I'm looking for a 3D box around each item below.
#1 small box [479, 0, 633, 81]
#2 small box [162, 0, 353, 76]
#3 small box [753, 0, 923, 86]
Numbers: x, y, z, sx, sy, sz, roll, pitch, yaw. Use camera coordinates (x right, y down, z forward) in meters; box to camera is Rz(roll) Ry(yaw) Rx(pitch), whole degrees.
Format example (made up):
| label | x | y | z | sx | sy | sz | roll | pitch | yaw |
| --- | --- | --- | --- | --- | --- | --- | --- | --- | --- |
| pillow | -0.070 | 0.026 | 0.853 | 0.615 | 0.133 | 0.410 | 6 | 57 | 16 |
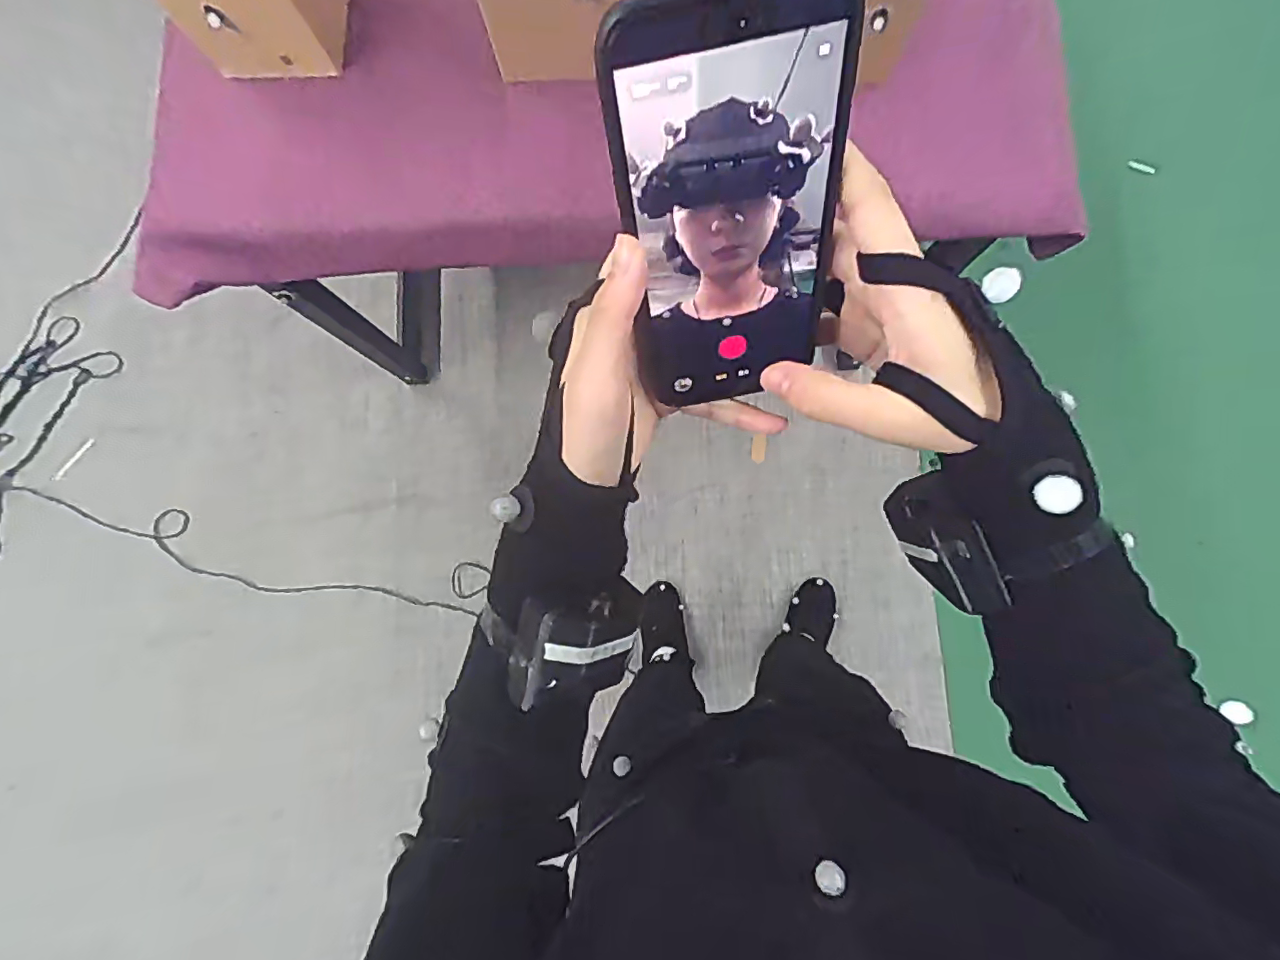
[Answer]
| label | x | y | z | sx | sy | sz | roll | pitch | yaw |
| --- | --- | --- | --- | --- | --- | --- | --- | --- | --- |
| small box | -0.098 | -0.628 | 0.660 | 0.179 | 0.176 | 0.168 | 0 | 83 | 2 |
| small box | -0.488 | -0.648 | 0.679 | 0.168 | 0.176 | 0.179 | 1 | 82 | 2 |
| small box | 0.243 | -0.614 | 0.647 | 0.179 | 0.176 | 0.168 | 6 | 82 | 4 |
